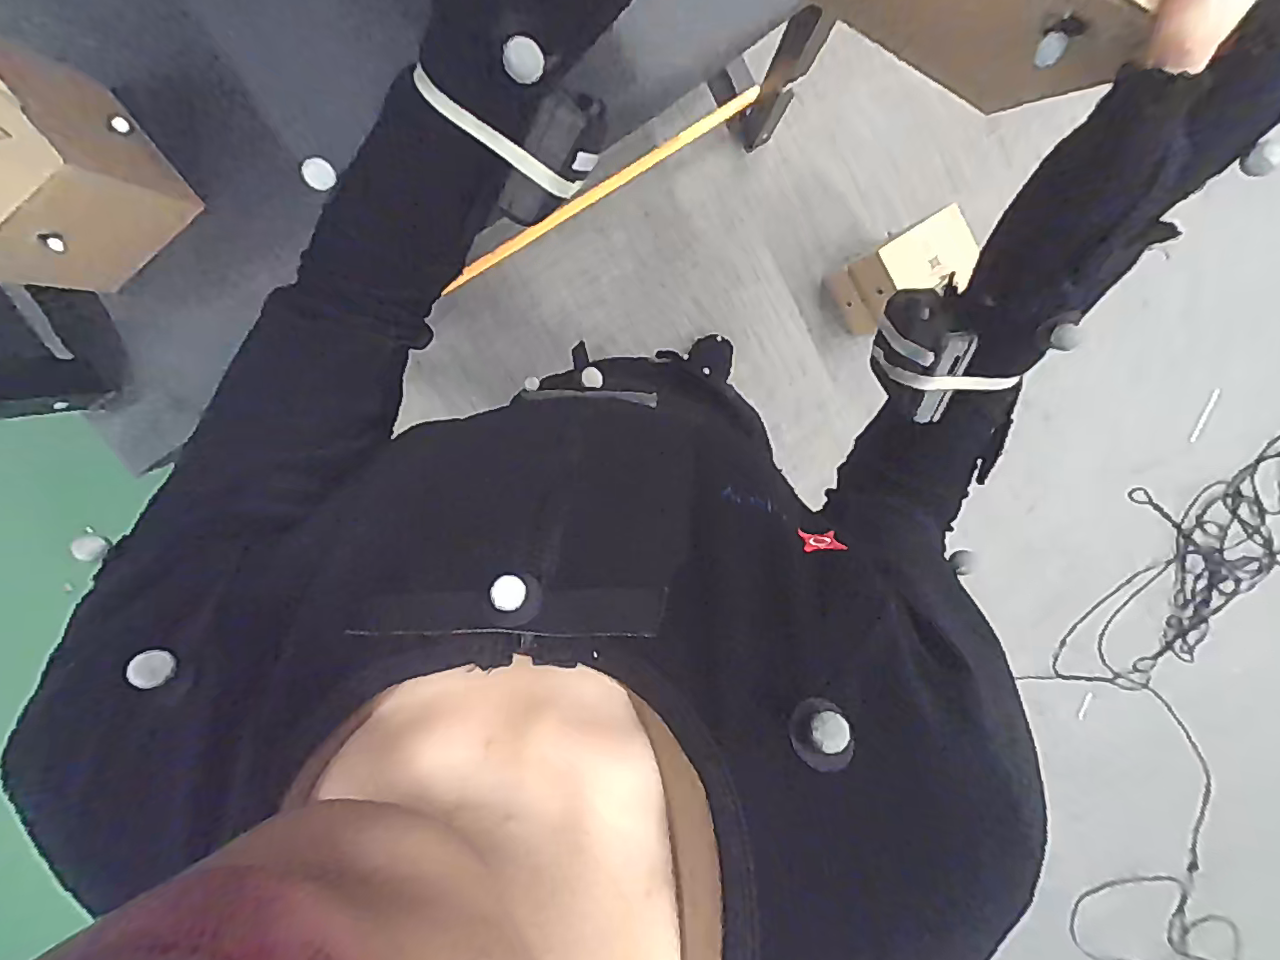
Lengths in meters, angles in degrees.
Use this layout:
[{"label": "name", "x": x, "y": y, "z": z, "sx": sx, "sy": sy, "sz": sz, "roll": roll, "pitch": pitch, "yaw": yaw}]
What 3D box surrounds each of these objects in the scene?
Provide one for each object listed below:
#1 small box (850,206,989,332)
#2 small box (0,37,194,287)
[{"label": "small box", "x": 0.568, "y": -0.425, "z": 1.120, "sx": 0.168, "sy": 0.176, "sz": 0.179, "roll": -31, "pitch": 100, "yaw": 8}, {"label": "small box", "x": -0.654, "y": -0.331, "z": 0.585, "sx": 0.179, "sy": 0.176, "sz": 0.168, "roll": -35, "pitch": 101, "yaw": 8}]
